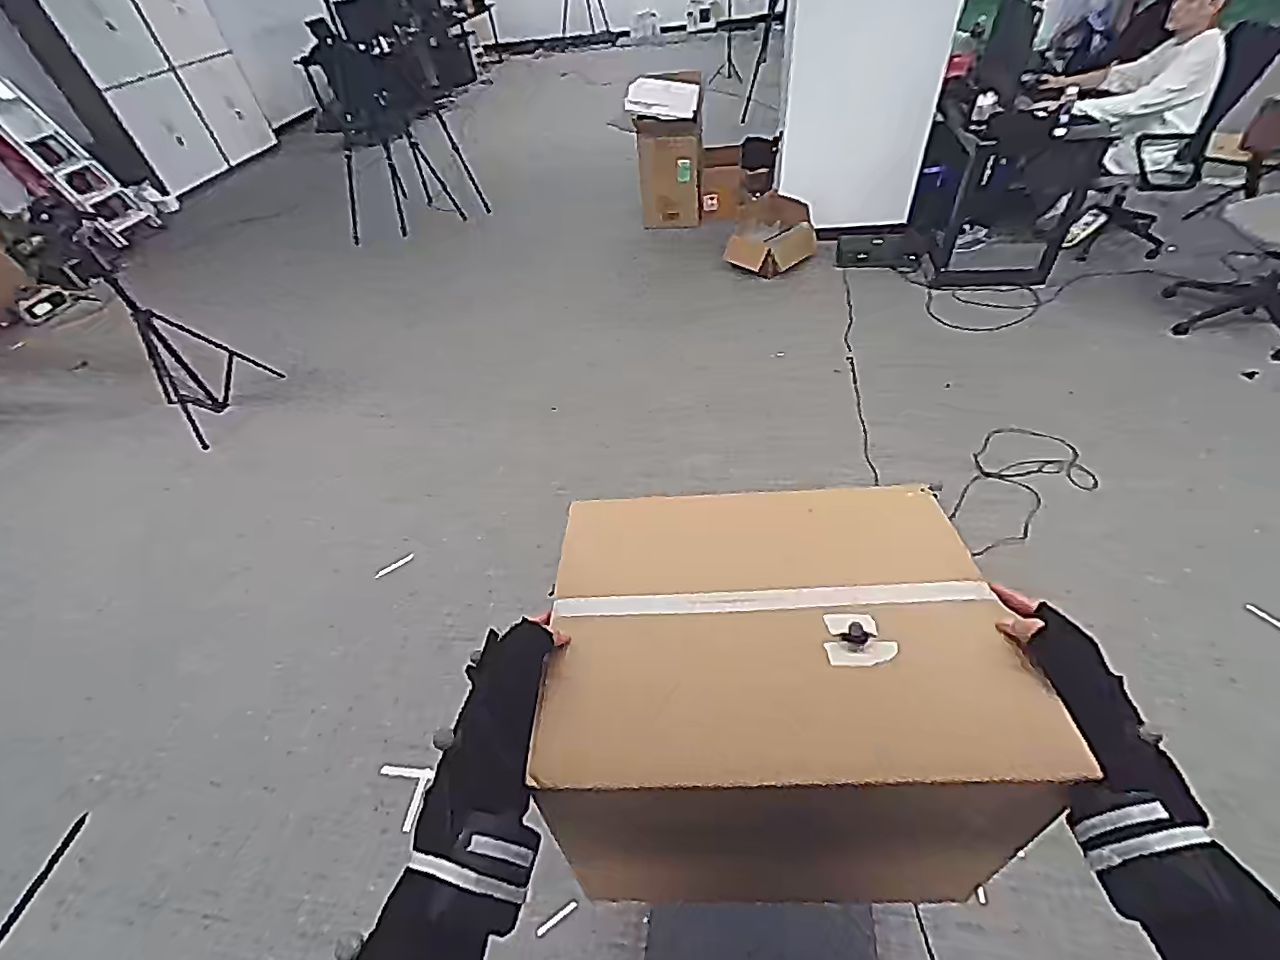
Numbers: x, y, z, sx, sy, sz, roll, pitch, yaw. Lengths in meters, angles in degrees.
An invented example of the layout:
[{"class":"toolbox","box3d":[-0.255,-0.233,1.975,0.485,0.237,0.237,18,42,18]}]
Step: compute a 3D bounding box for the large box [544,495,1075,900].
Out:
[{"class":"large box","box3d":[0.133,0.239,0.610,0.408,0.320,0.320,-3,40,4]}]
